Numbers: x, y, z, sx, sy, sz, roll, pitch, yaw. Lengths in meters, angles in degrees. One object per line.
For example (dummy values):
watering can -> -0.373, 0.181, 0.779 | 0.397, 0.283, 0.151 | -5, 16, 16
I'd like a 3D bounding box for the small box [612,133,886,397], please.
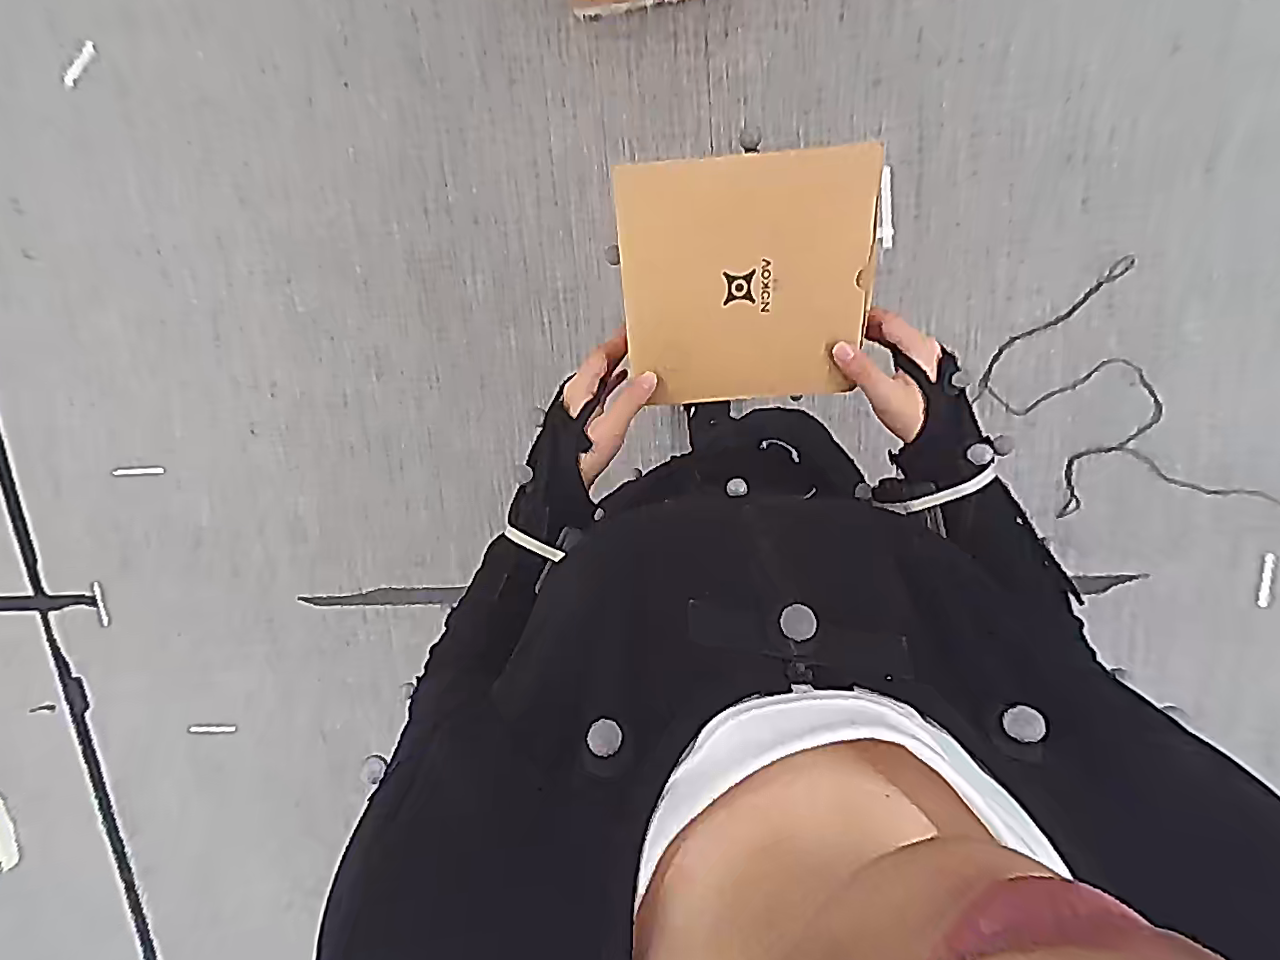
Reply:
small box -> 0.075, -0.176, 0.449 | 0.179, 0.176, 0.168 | -4, 117, 2
